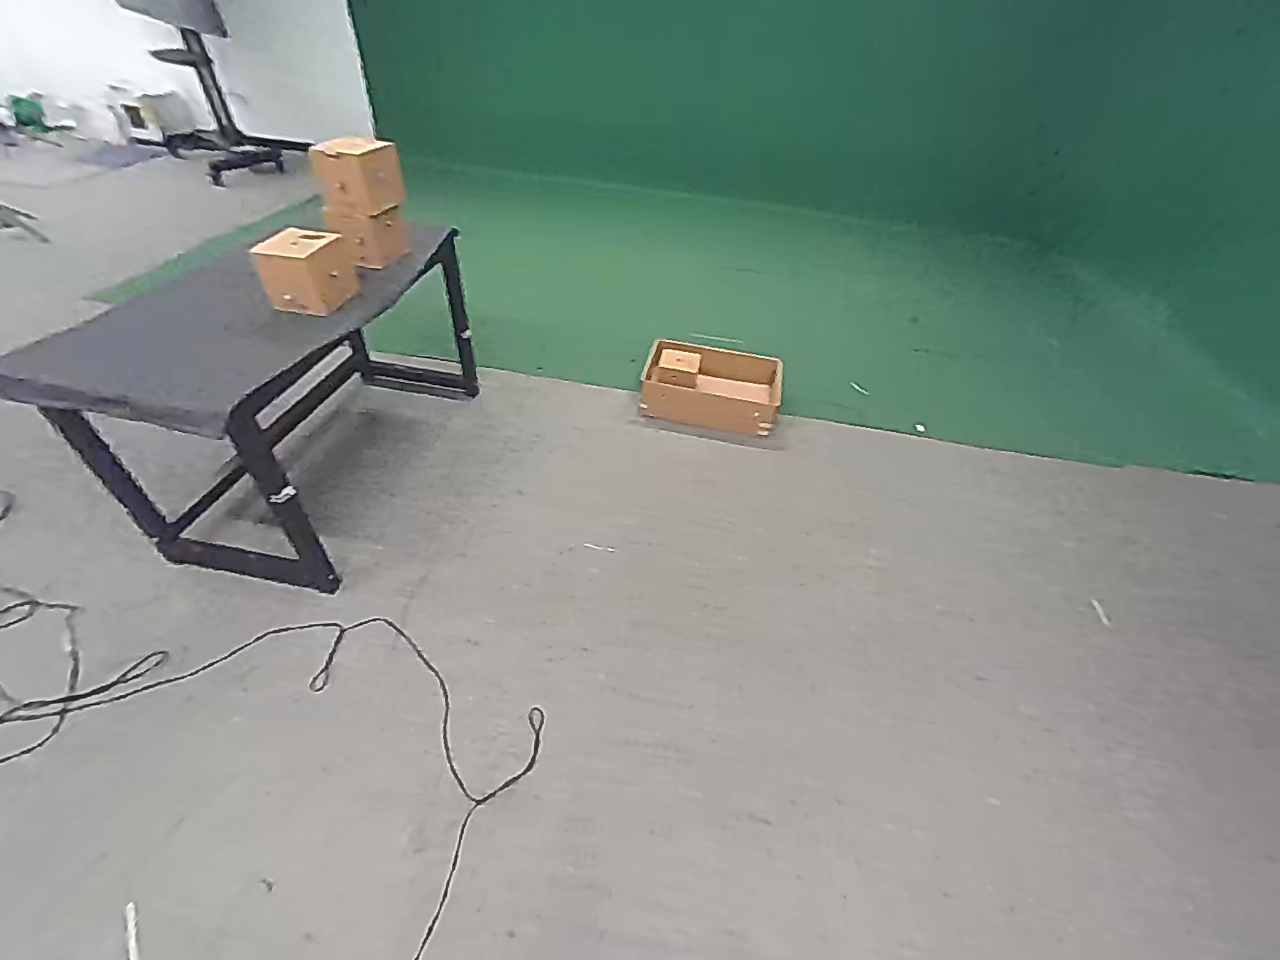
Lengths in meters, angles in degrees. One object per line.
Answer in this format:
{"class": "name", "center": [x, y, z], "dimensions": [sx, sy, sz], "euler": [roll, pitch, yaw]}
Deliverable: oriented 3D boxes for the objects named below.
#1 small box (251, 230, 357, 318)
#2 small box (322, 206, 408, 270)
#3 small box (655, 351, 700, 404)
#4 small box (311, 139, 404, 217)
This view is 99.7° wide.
{"class": "small box", "center": [-0.932, -0.580, 1.524], "dimensions": [0.168, 0.176, 0.179], "euler": [9, 45, 6]}
{"class": "small box", "center": [-0.890, -0.807, 1.773], "dimensions": [0.168, 0.176, 0.179], "euler": [13, 43, 7]}
{"class": "small box", "center": [0.174, -0.477, 2.526], "dimensions": [0.179, 0.176, 0.168], "euler": [12, 45, 5]}
{"class": "small box", "center": [-0.860, -0.932, 1.669], "dimensions": [0.168, 0.176, 0.179], "euler": [14, 44, 9]}
